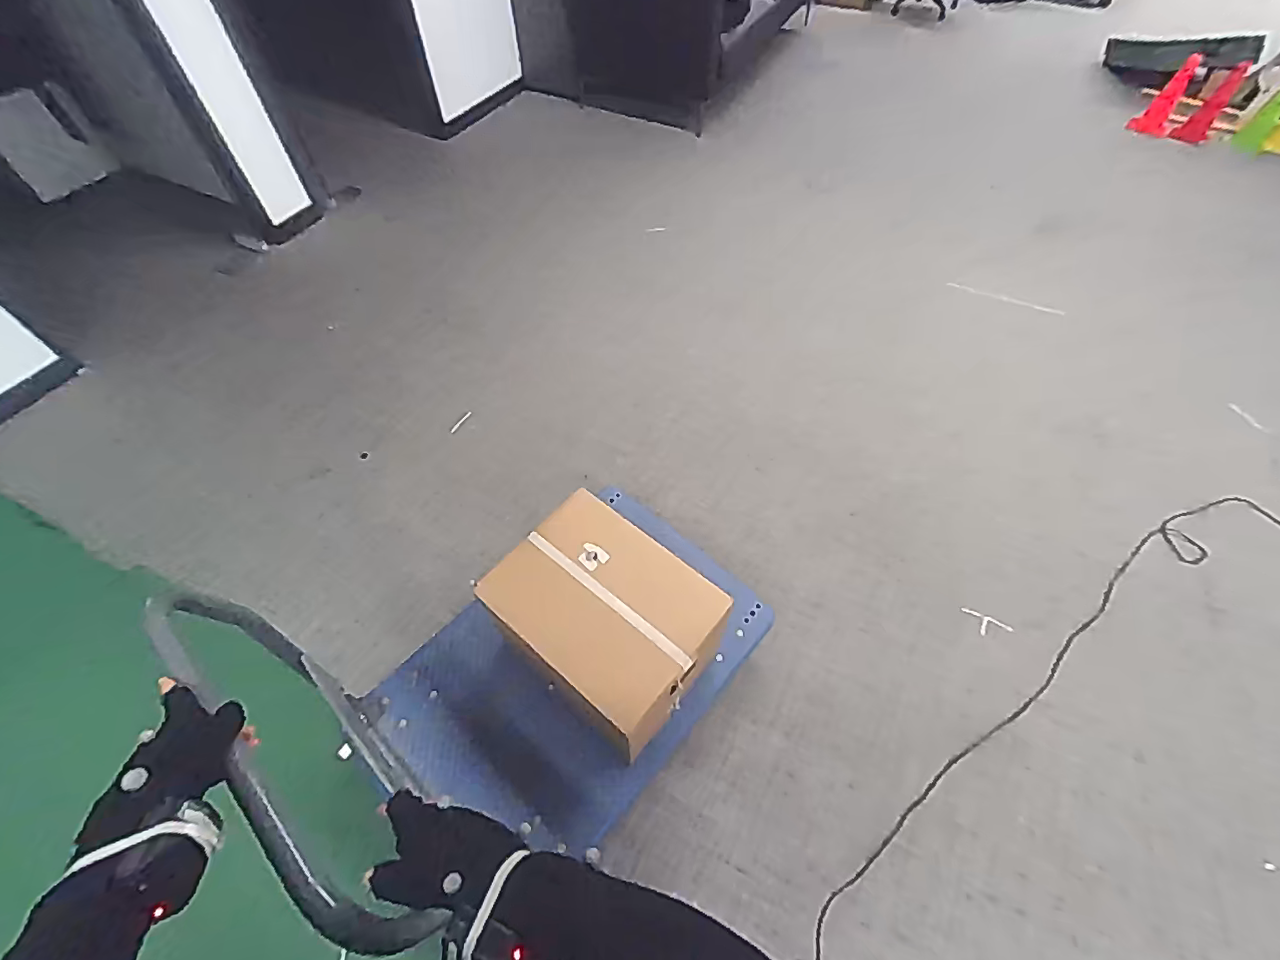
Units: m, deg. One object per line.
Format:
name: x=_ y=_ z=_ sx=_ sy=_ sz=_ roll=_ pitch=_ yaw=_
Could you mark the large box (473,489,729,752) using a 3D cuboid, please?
large box: x=-0.072 y=0.299 z=1.155 sx=0.408 sy=0.320 sz=0.320 roll=35 pitch=62 yaw=23
